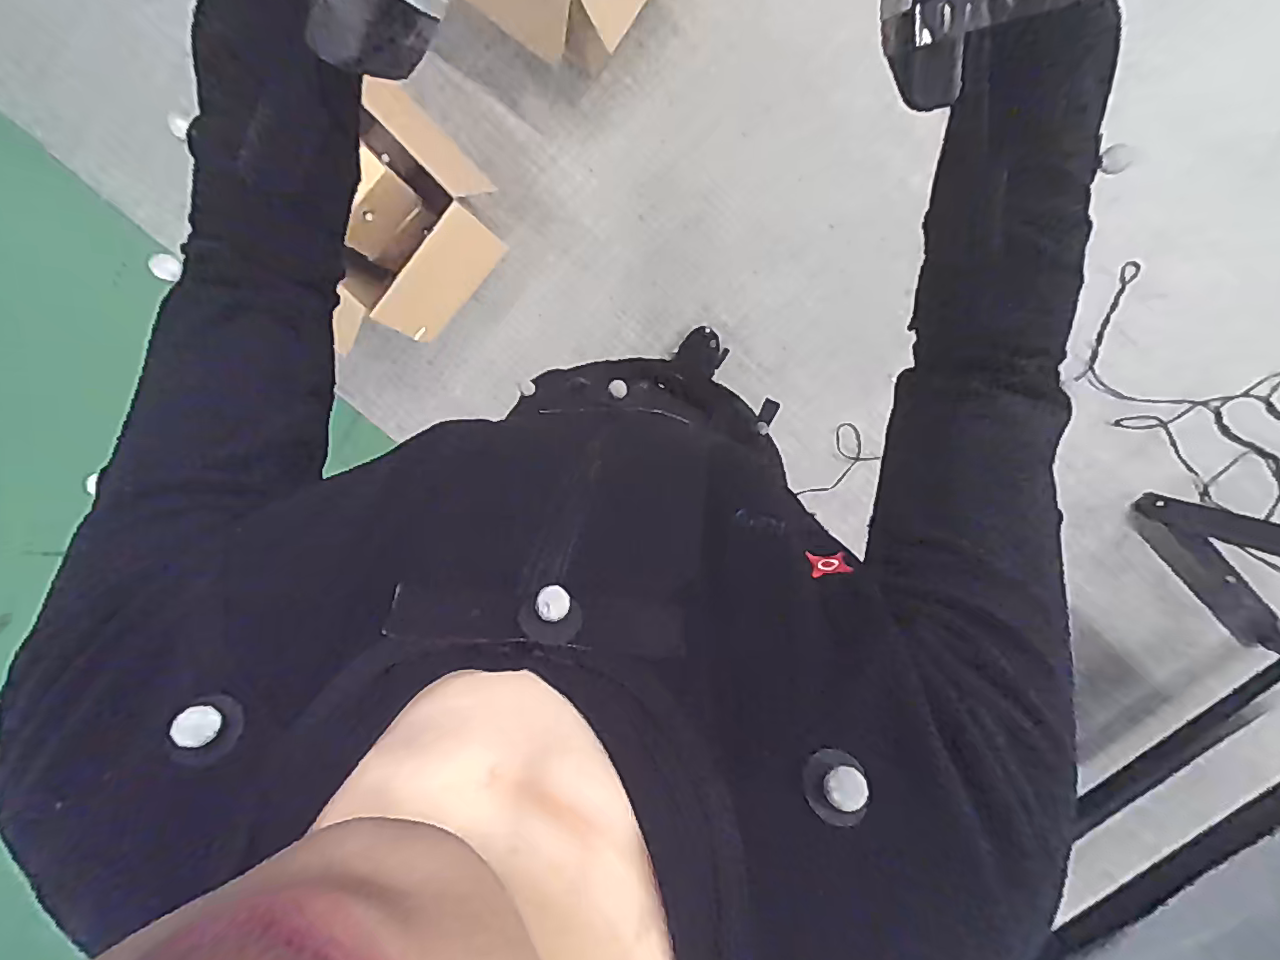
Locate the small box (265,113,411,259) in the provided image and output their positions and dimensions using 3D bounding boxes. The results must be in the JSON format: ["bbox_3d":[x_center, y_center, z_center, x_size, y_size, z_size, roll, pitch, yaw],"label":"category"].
[{"bbox_3d":[-0.603,-0.591,1.113,0.179,0.176,0.168,-44,96,8],"label":"small box"}]
